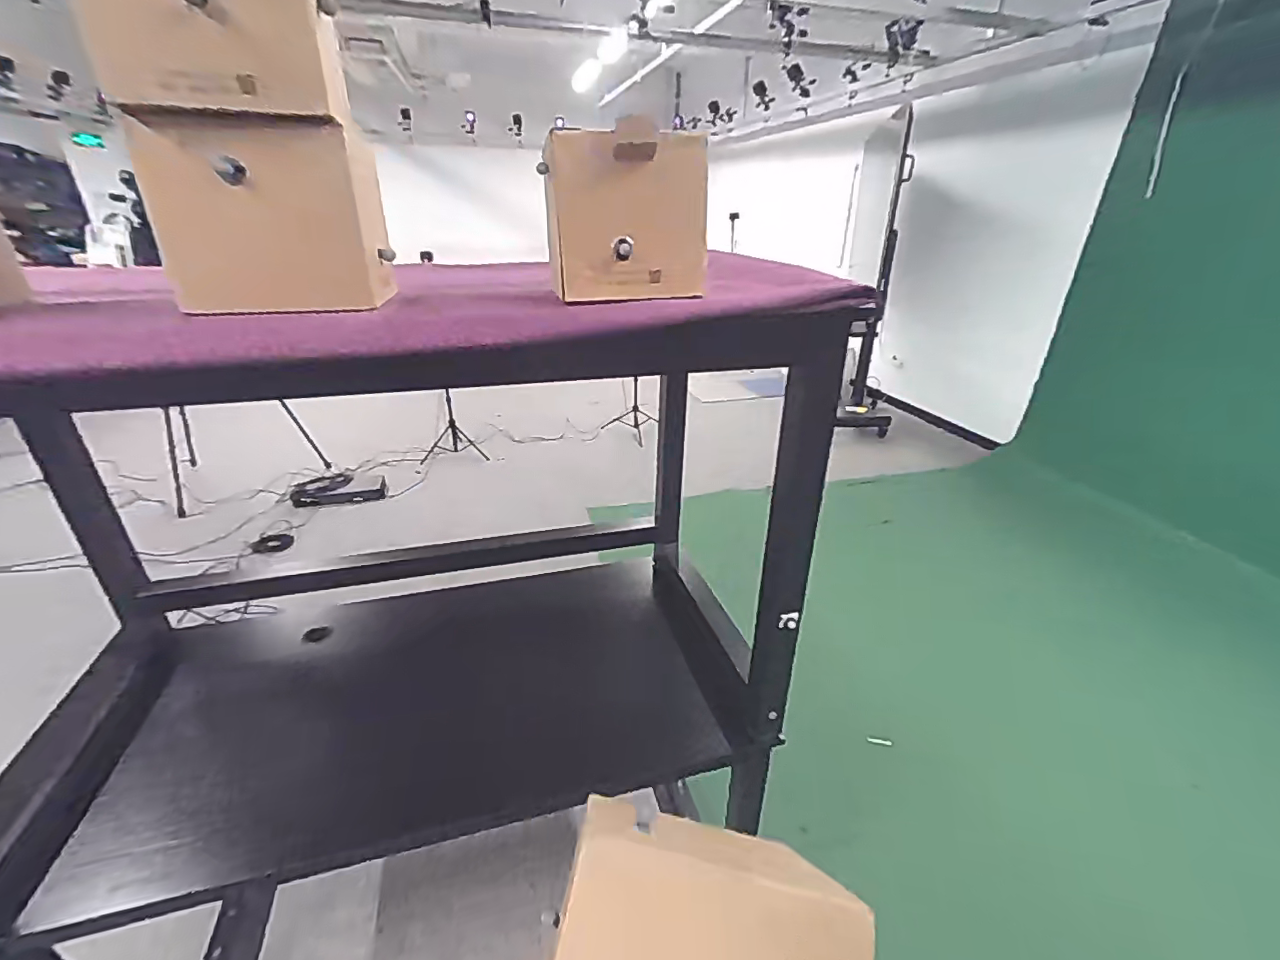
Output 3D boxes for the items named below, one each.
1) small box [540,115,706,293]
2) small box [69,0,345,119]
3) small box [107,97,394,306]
[{"bbox_3d":[-0.028,-0.319,0.647,0.168,0.176,0.179,-7,25,-11],"label":"small box"},{"bbox_3d":[-0.379,-0.422,0.485,0.168,0.176,0.179,-9,27,-18],"label":"small box"},{"bbox_3d":[-0.377,-0.279,0.567,0.179,0.176,0.168,-6,26,-14],"label":"small box"}]
